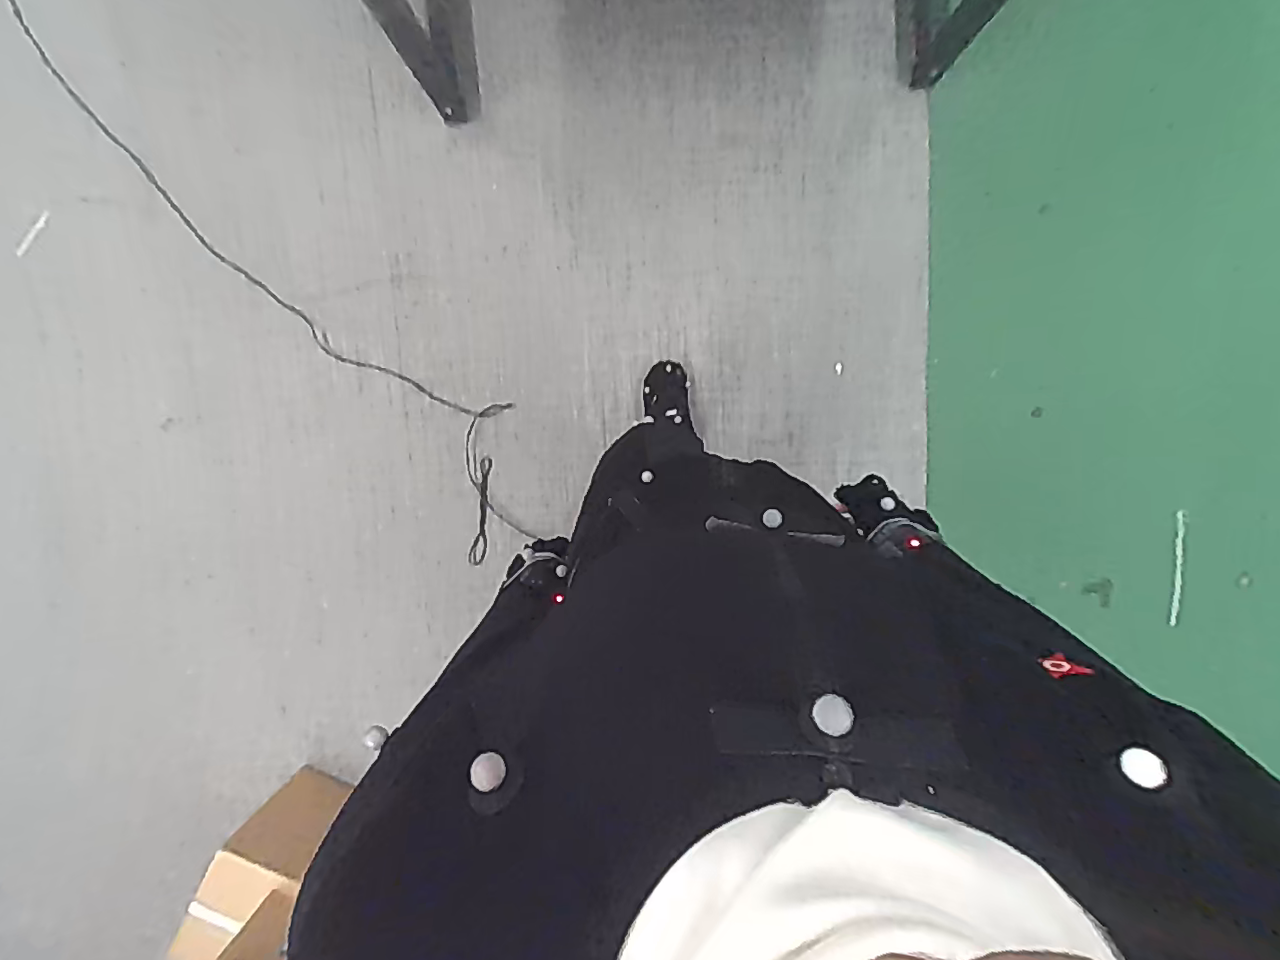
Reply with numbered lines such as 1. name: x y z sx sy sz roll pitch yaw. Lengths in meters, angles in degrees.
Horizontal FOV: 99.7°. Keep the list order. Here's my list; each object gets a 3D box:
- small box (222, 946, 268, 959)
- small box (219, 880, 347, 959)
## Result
1. small box: -0.763 1.024 0.991 0.168 0.176 0.179 27 96 -2
2. small box: -0.769 1.012 1.159 0.179 0.176 0.168 22 97 -1
